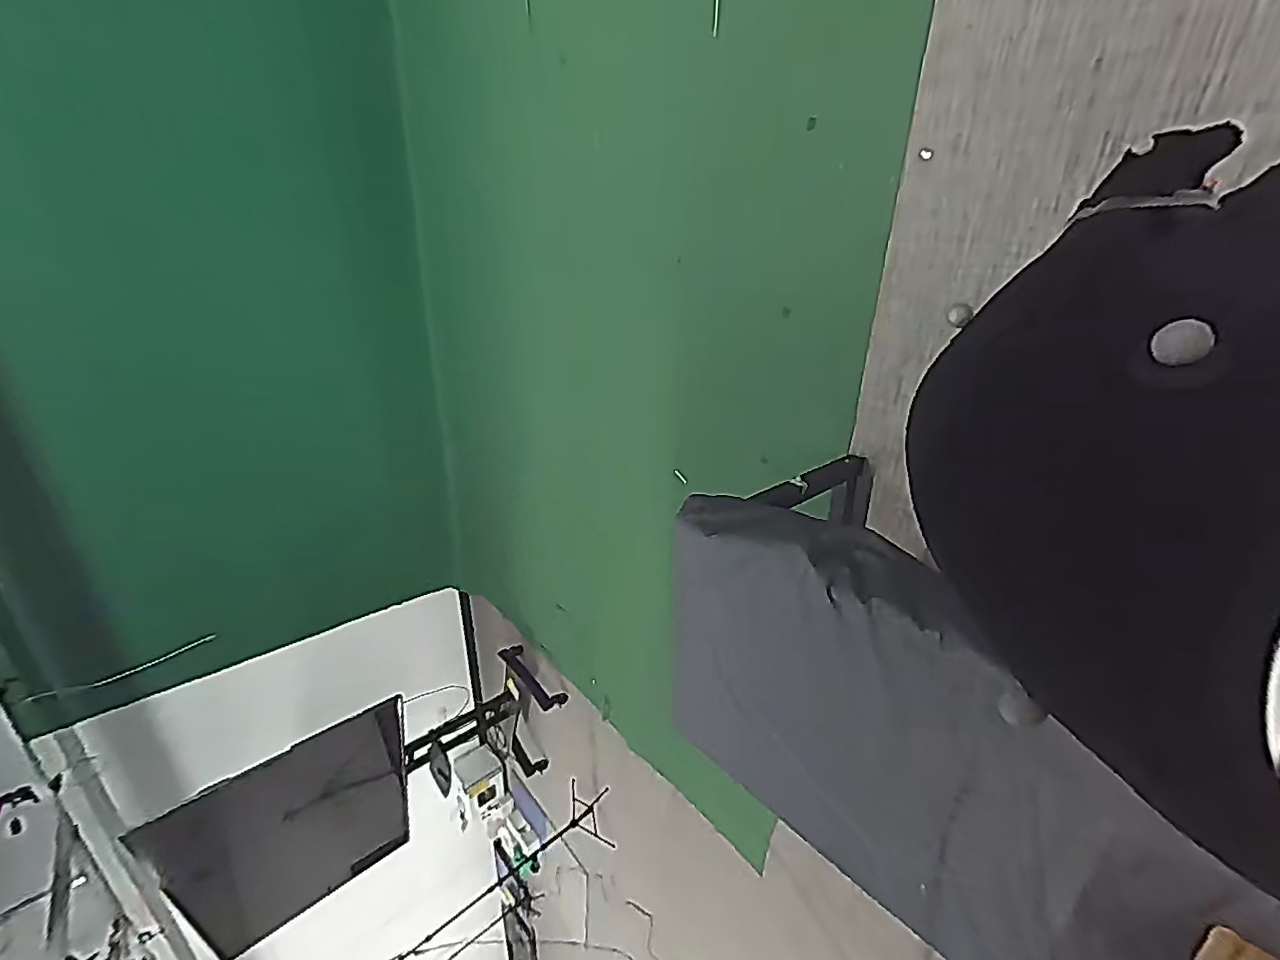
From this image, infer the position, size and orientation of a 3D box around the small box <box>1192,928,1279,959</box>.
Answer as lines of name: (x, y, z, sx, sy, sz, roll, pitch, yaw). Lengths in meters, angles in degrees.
small box: (0.671, 0.635, 0.561, 0.168, 0.176, 0.179, 22, 120, 45)
